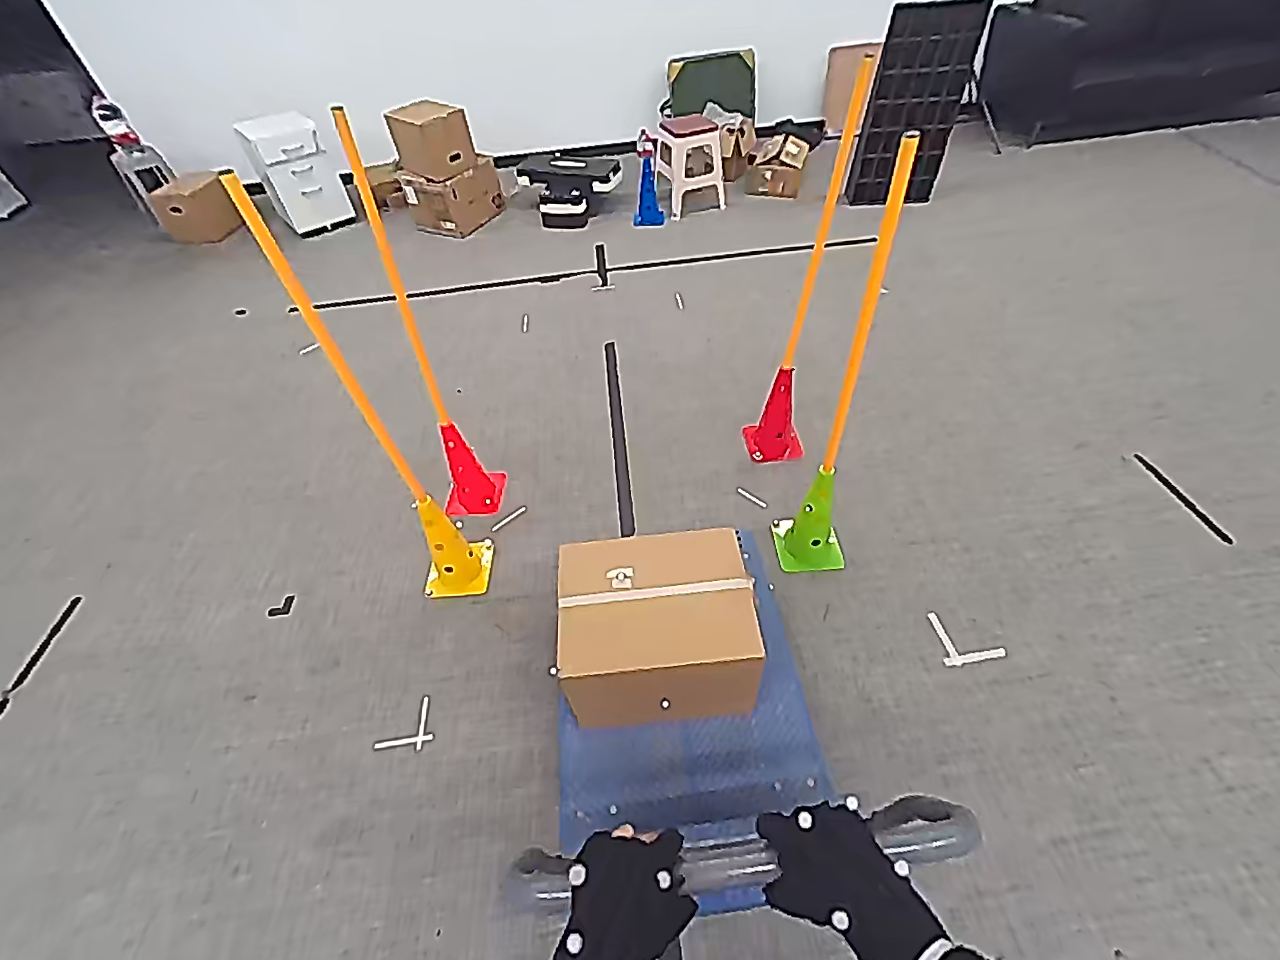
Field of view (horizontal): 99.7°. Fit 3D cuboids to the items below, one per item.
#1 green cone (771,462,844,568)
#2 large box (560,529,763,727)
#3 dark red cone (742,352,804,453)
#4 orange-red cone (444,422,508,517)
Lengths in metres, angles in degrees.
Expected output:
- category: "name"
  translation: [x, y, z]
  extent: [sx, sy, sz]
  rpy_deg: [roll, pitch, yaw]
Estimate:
- category: "green cone"
  translation: [0.533, 0.086, 1.633]
  extent: [0.202, 0.368, 0.200]
  rpy_deg: [-4, 48, 1]
- category: "large box"
  translation: [0.043, 0.348, 1.250]
  extent: [0.408, 0.320, 0.320]
  rpy_deg: [-7, 48, 1]
- category: "dark red cone"
  translation: [0.499, -0.283, 1.946]
  extent: [0.201, 0.394, 0.202]
  rpy_deg: [-6, 48, -3]
- category: "orange-red cone"
  translation: [-0.610, -0.059, 1.879]
  extent: [0.198, 0.360, 0.199]
  rpy_deg: [-1, 47, 3]
